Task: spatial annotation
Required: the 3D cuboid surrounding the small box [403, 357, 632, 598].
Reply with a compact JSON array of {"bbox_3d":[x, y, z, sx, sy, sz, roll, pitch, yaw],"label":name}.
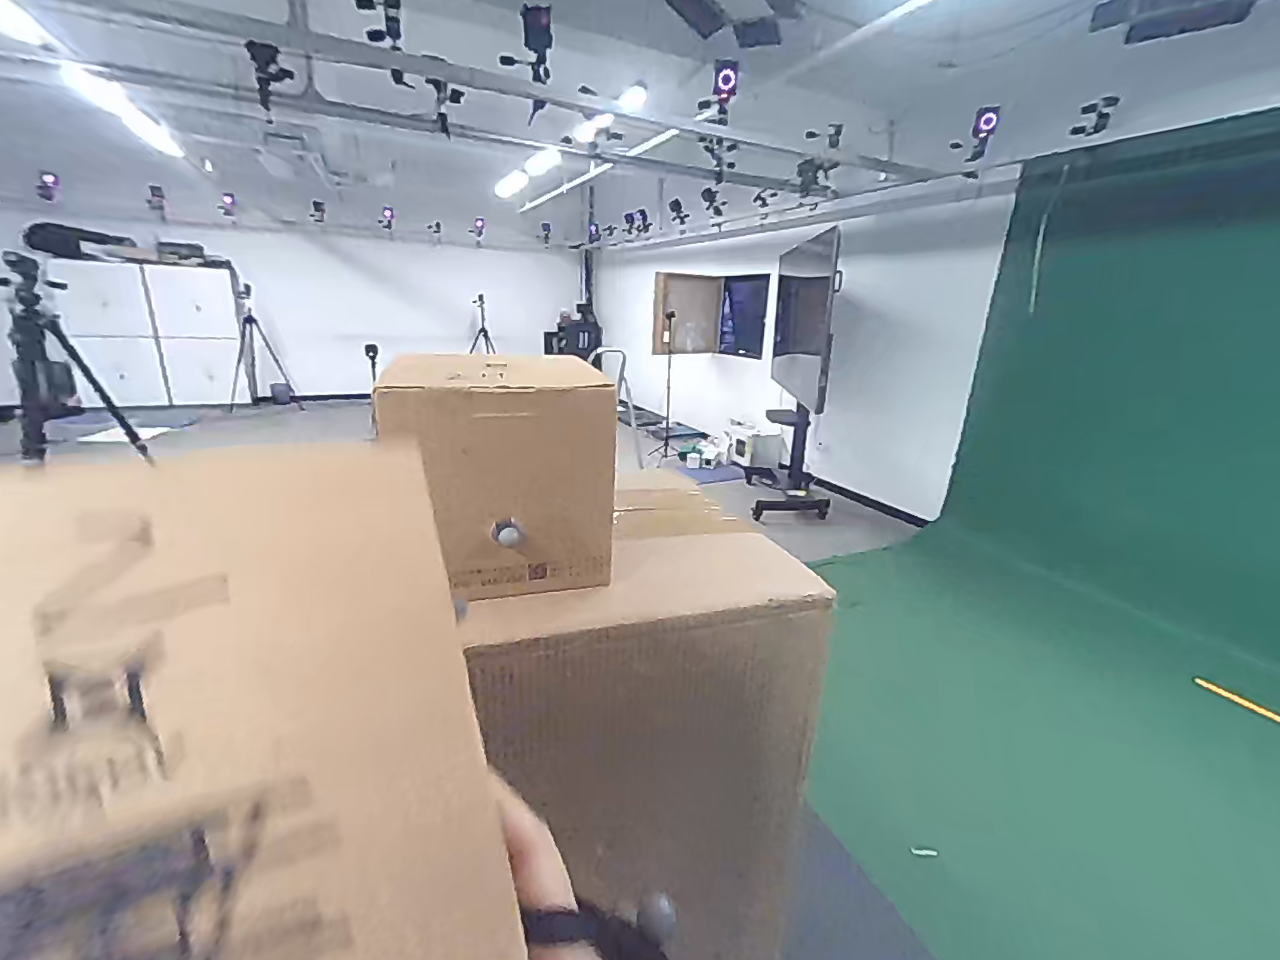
[{"bbox_3d":[-0.112,-0.014,0.488,0.168,0.176,0.179,-3,20,-18],"label":"small box"}]
